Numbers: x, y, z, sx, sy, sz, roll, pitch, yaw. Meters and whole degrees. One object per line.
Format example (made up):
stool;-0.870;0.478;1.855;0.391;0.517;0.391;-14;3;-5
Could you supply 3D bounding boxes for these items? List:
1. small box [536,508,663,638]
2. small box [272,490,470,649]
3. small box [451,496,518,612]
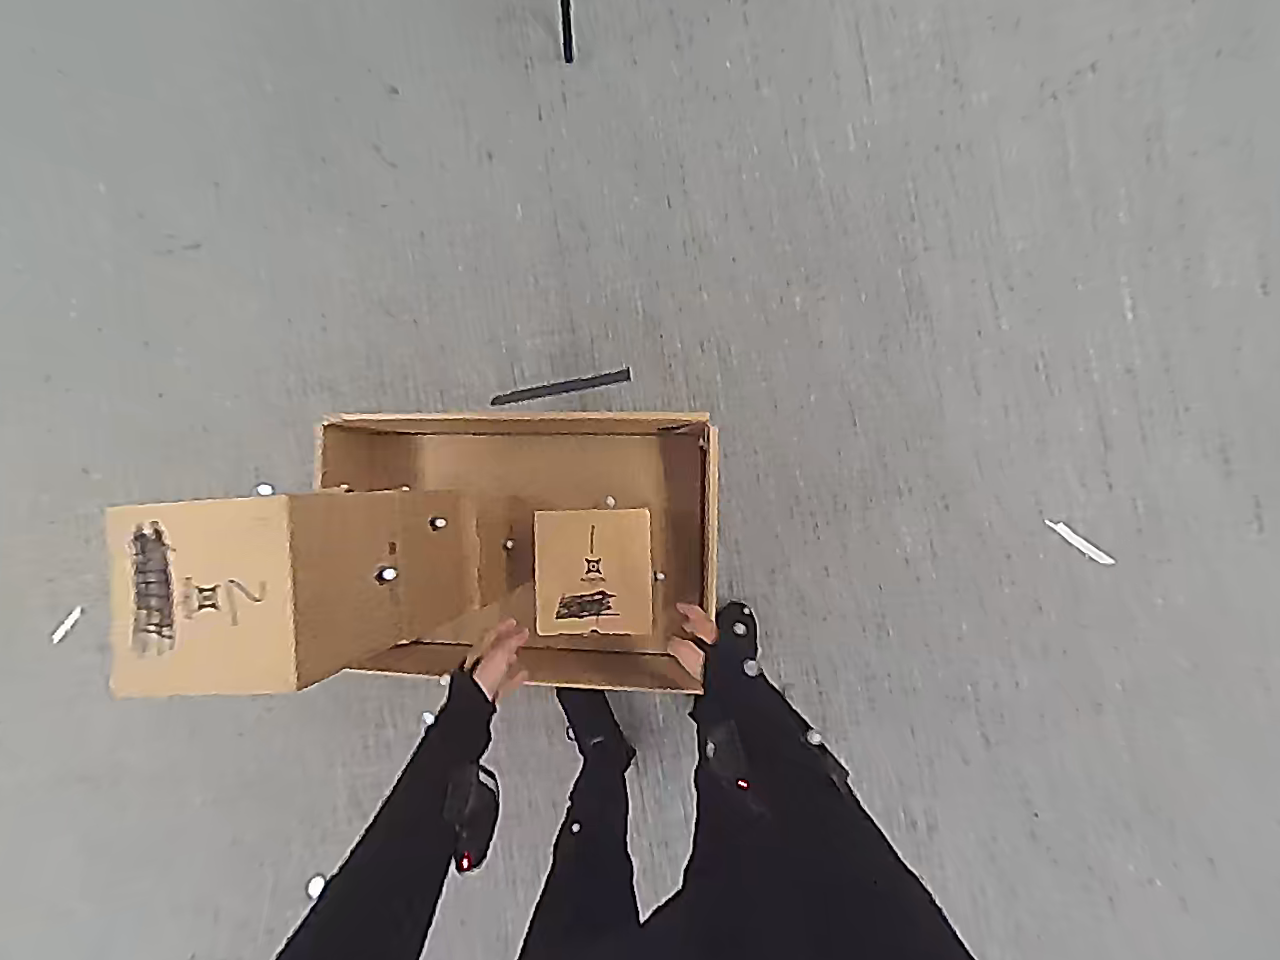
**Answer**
small box;-0.054;0.134;0.830;0.168;0.176;0.179;-2;88;7
small box;-0.335;0.106;0.698;0.168;0.176;0.179;-5;88;7
small box;-0.307;0.110;0.860;0.179;0.176;0.168;-2;89;6
